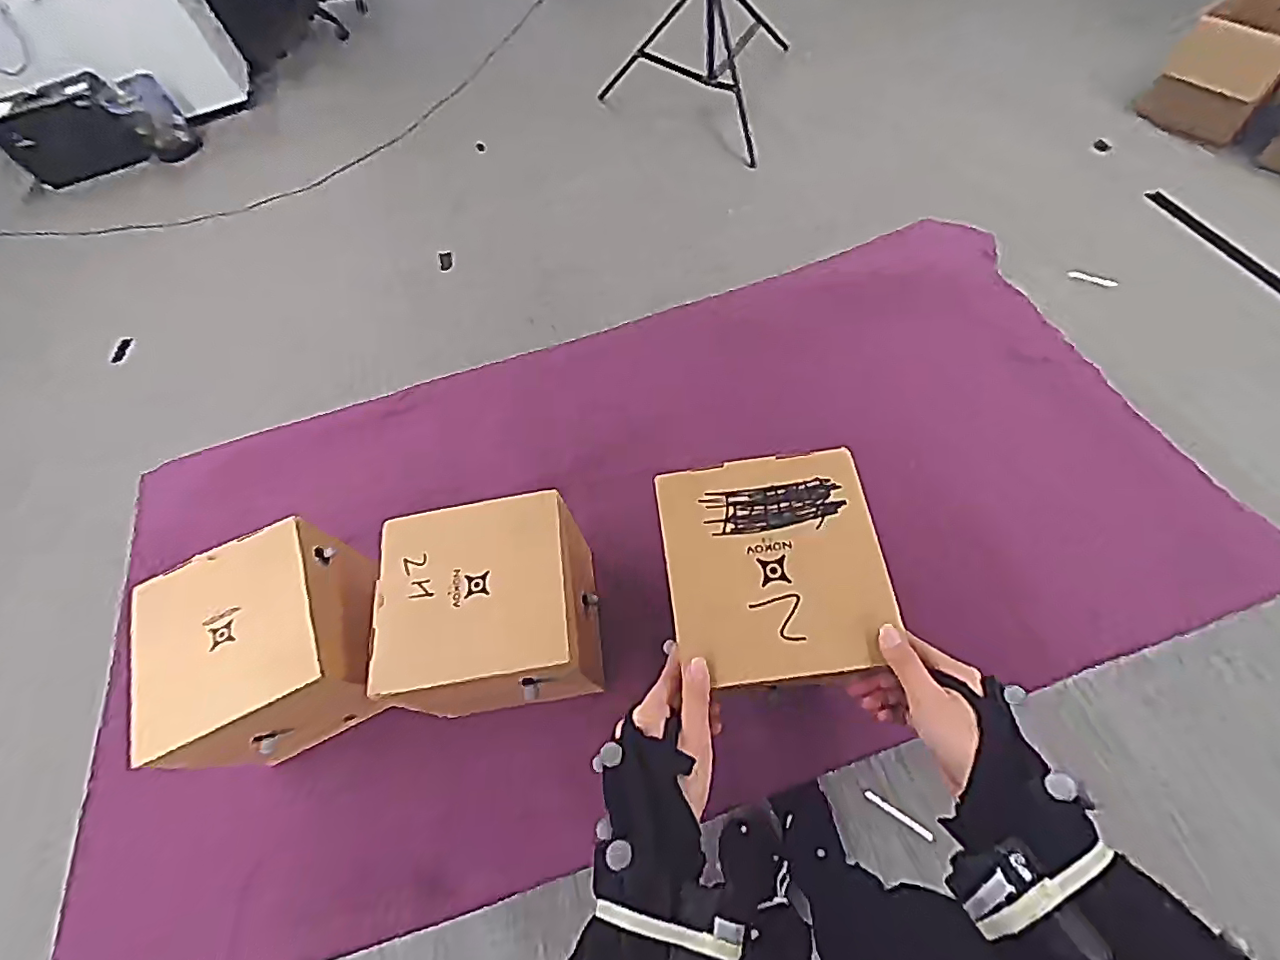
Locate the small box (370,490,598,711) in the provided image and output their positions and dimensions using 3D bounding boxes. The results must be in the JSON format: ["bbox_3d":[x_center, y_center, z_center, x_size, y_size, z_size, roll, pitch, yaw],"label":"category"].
[{"bbox_3d":[-0.143,0.131,0.557,0.179,0.176,0.168,-11,60,2],"label":"small box"}]

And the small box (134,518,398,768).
[{"bbox_3d":[-0.372,0.174,0.567,0.168,0.176,0.179,-27,62,-6],"label":"small box"}]
